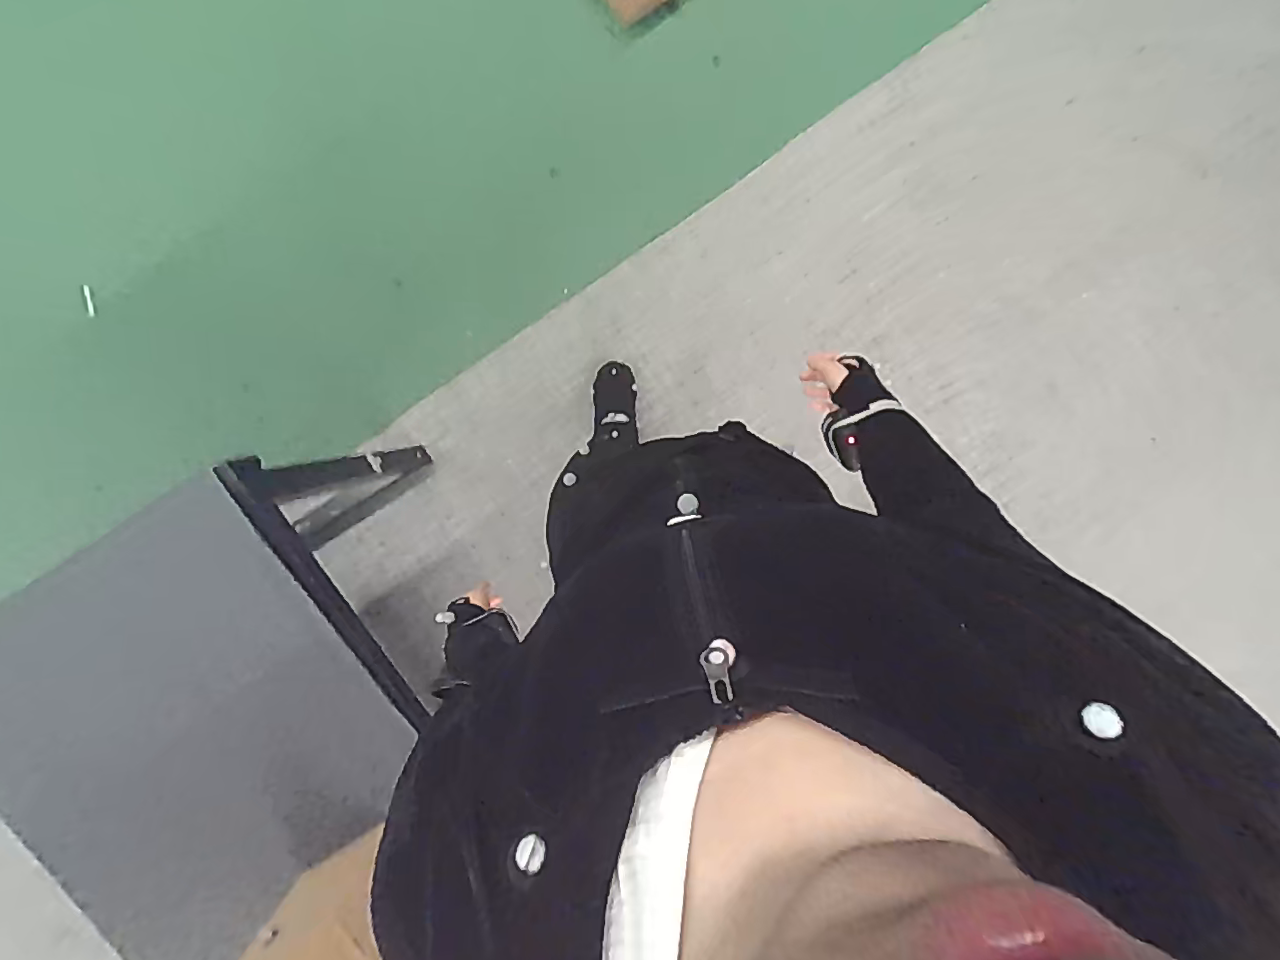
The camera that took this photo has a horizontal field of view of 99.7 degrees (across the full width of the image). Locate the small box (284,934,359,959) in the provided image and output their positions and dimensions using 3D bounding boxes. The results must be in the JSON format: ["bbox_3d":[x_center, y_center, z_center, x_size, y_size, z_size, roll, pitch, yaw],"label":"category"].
[{"bbox_3d":[-0.389,0.650,0.570,0.179,0.176,0.168,-34,95,3],"label":"small box"}]

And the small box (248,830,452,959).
[{"bbox_3d":[-0.390,0.632,0.731,0.179,0.176,0.168,-34,96,3],"label":"small box"}]
